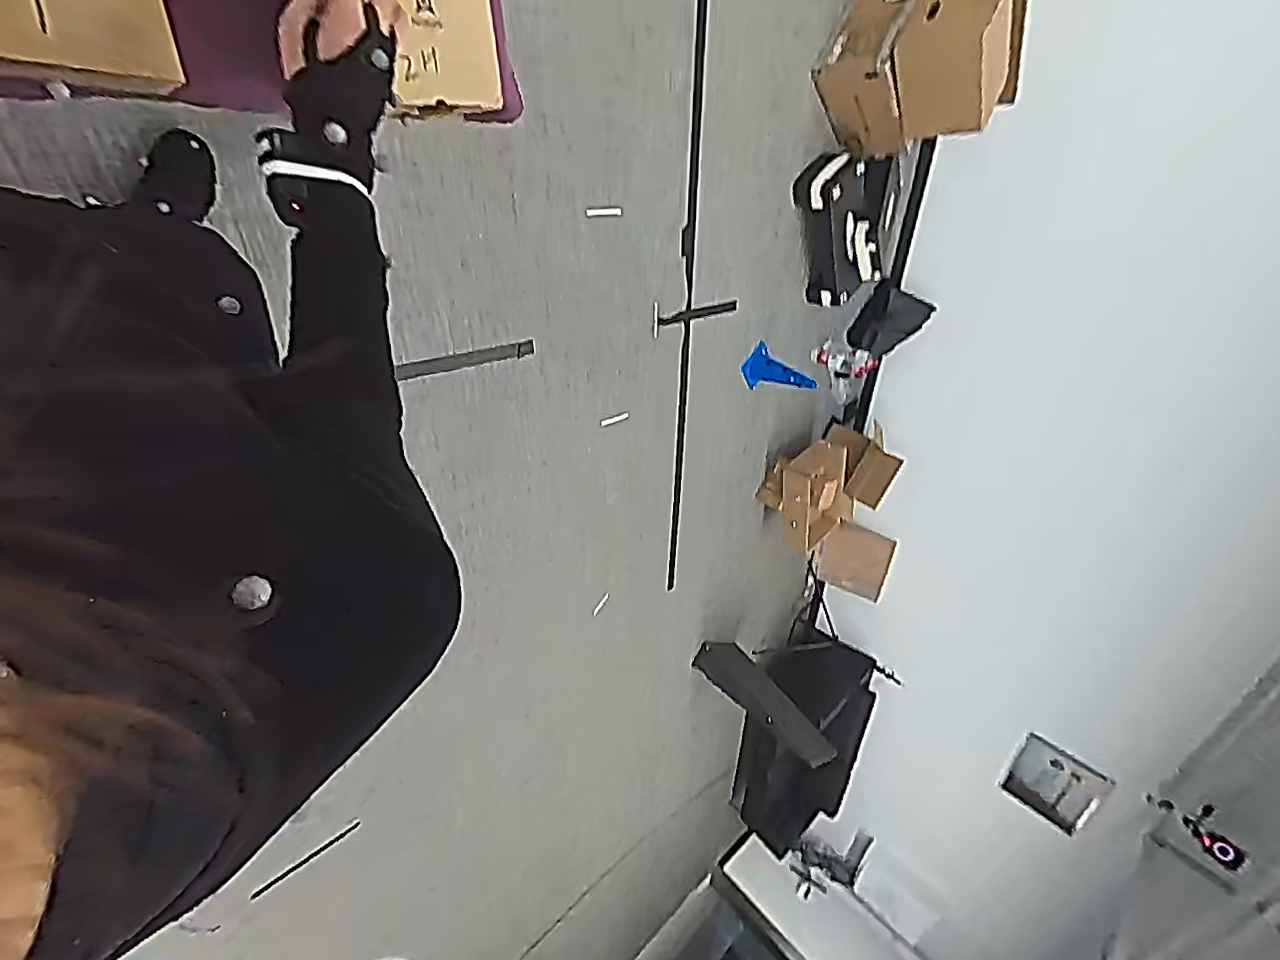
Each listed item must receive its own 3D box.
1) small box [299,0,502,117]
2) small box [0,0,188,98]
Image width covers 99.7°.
[{"bbox_3d":[-0.289,-0.541,0.641,0.168,0.176,0.179,-26,130,-33],"label":"small box"},{"bbox_3d":[-0.522,-0.443,0.455,0.168,0.176,0.179,-21,128,-37],"label":"small box"}]
